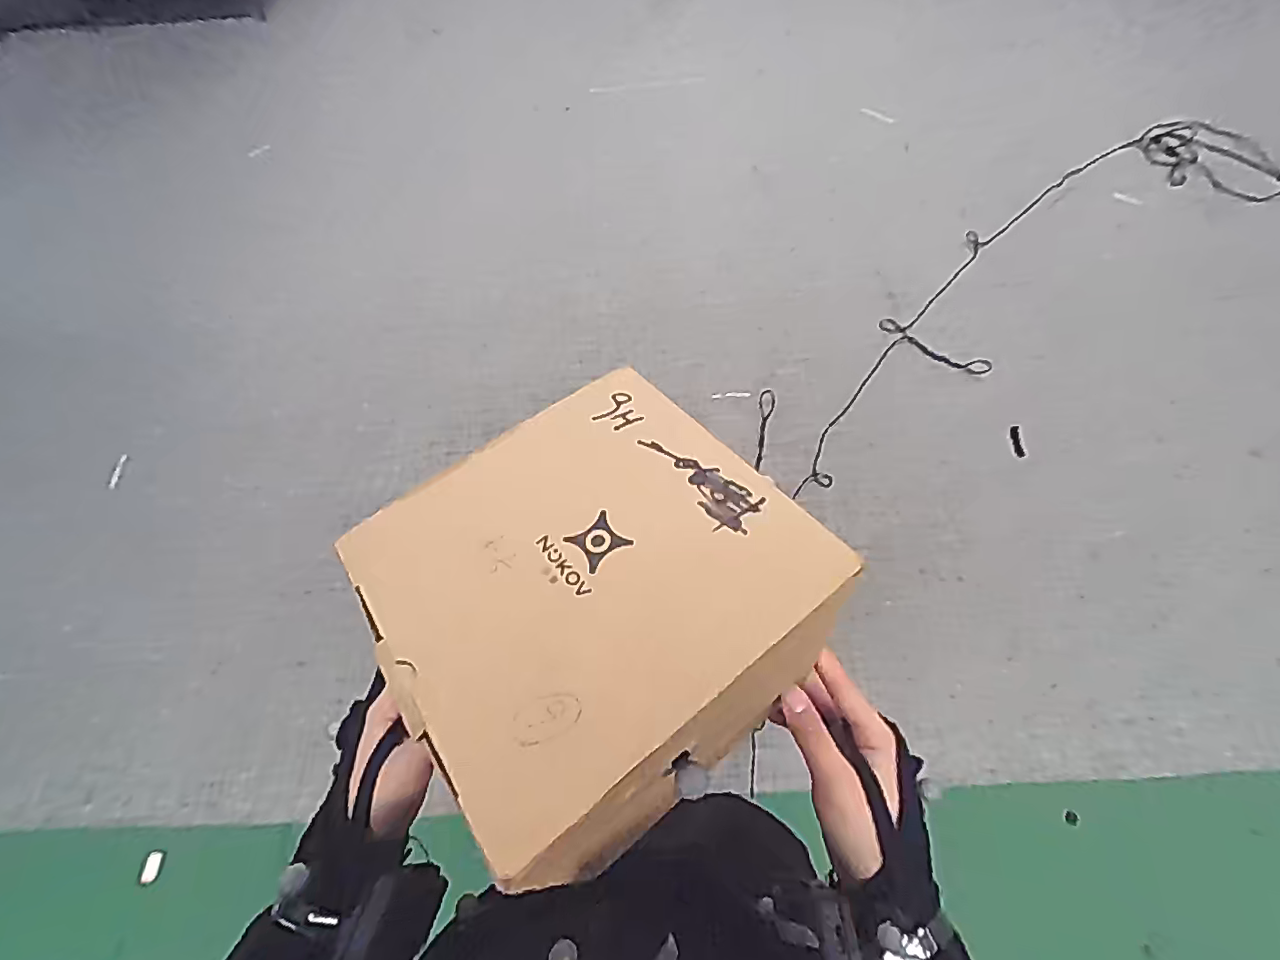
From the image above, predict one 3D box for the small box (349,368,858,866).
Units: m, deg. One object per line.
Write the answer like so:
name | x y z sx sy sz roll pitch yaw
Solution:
small box | -0.014 0.078 0.302 0.179 0.176 0.168 -34 57 -17
